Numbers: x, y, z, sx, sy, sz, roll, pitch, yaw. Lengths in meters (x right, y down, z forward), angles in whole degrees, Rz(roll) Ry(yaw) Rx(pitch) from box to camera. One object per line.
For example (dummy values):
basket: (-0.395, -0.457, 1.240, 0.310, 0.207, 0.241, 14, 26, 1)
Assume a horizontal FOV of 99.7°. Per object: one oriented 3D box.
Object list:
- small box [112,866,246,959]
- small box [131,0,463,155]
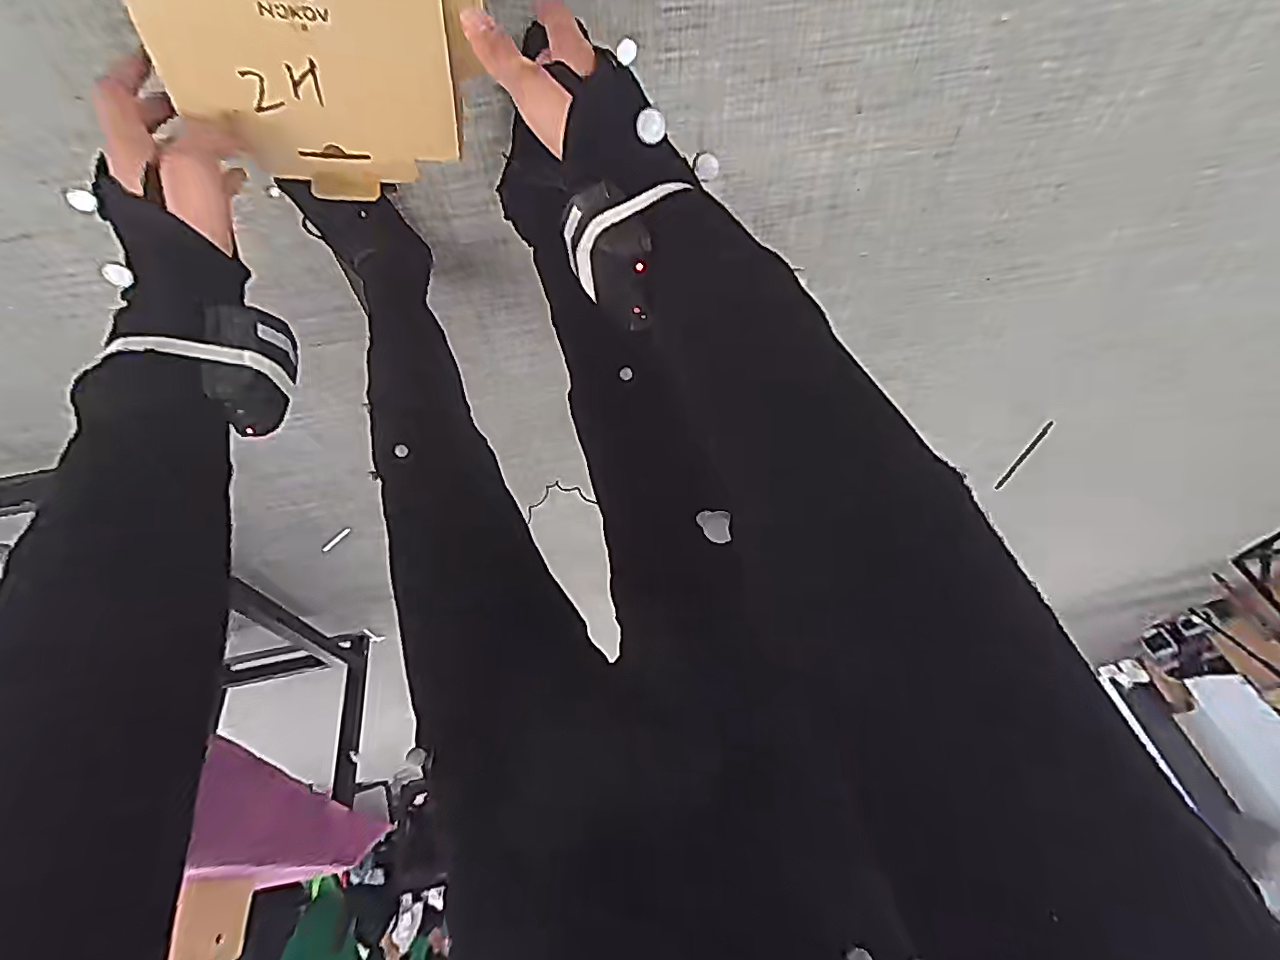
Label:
small box: (-1.135, 1.078, 1.347, 0.168, 0.176, 0.179, -16, 145, 4)
small box: (-0.206, -0.339, 0.340, 0.168, 0.176, 0.179, -3, 144, -13)
